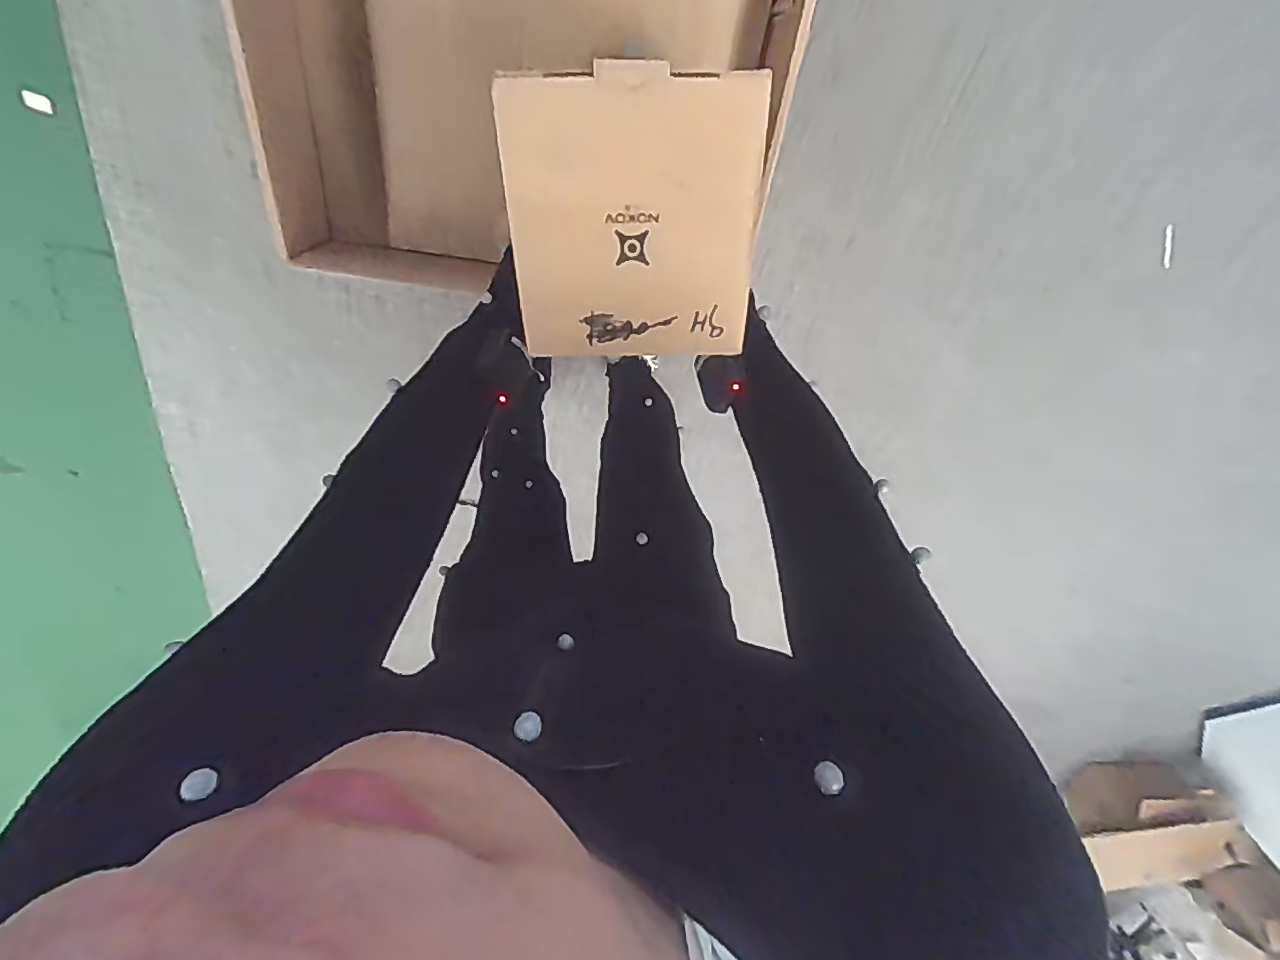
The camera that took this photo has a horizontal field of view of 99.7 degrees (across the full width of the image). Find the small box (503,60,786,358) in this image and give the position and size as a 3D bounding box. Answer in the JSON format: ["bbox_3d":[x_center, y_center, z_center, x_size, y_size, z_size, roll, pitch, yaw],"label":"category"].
[{"bbox_3d":[-0.001,-0.207,0.417,0.168,0.176,0.179,-1,126,-1],"label":"small box"}]
